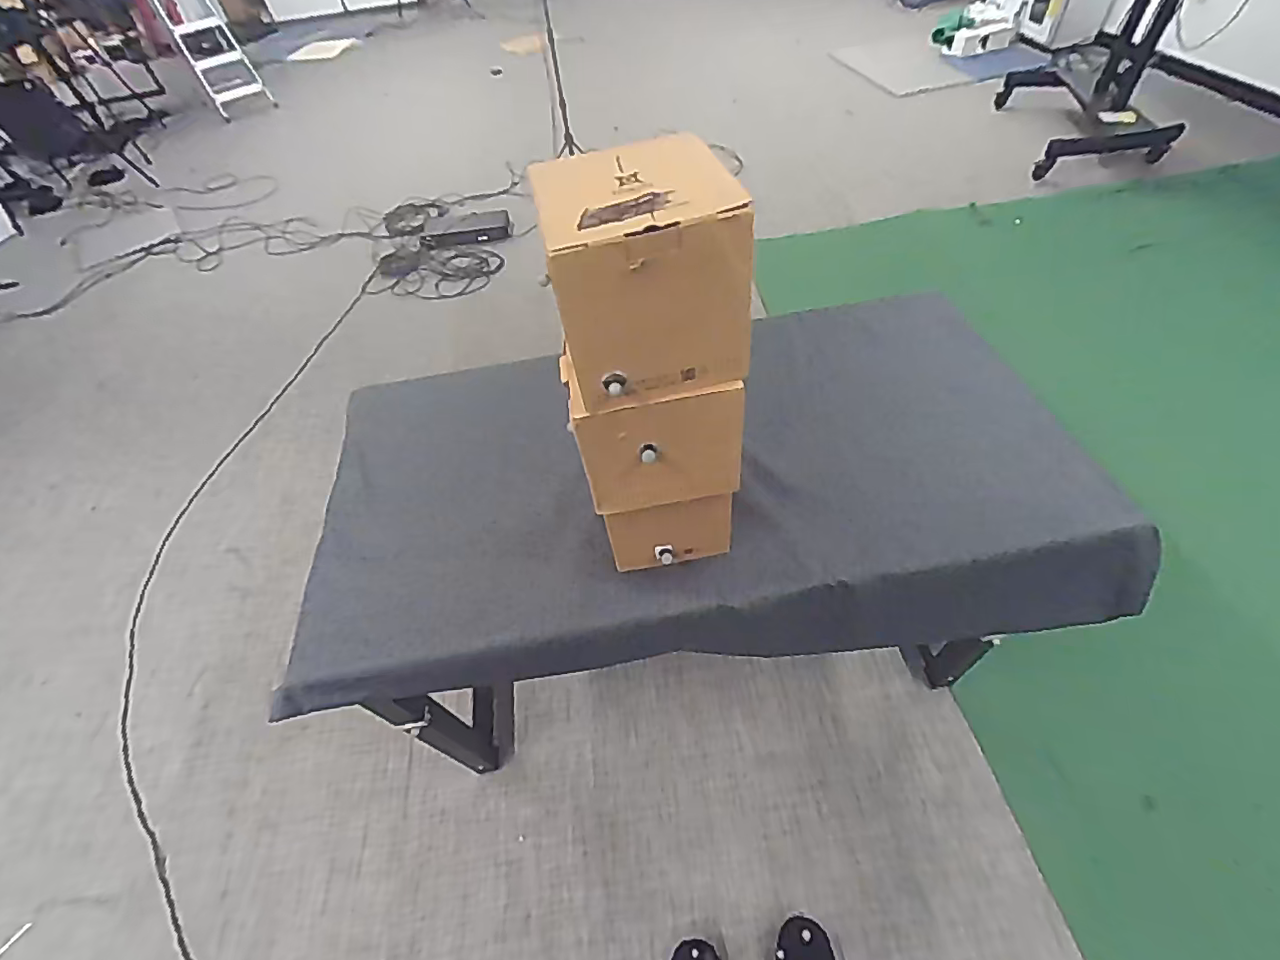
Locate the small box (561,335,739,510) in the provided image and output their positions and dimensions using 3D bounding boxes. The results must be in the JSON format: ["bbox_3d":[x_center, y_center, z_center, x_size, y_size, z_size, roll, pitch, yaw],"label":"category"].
[{"bbox_3d":[0.014,-0.084,0.651,0.179,0.176,0.168,-12,48,-2],"label":"small box"}]

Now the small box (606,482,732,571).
[{"bbox_3d":[0.030,0.006,0.785,0.168,0.176,0.179,-12,51,-1],"label":"small box"}]

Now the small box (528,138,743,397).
[{"bbox_3d":[-0.003,-0.199,0.530,0.168,0.176,0.179,-13,49,-3],"label":"small box"}]
